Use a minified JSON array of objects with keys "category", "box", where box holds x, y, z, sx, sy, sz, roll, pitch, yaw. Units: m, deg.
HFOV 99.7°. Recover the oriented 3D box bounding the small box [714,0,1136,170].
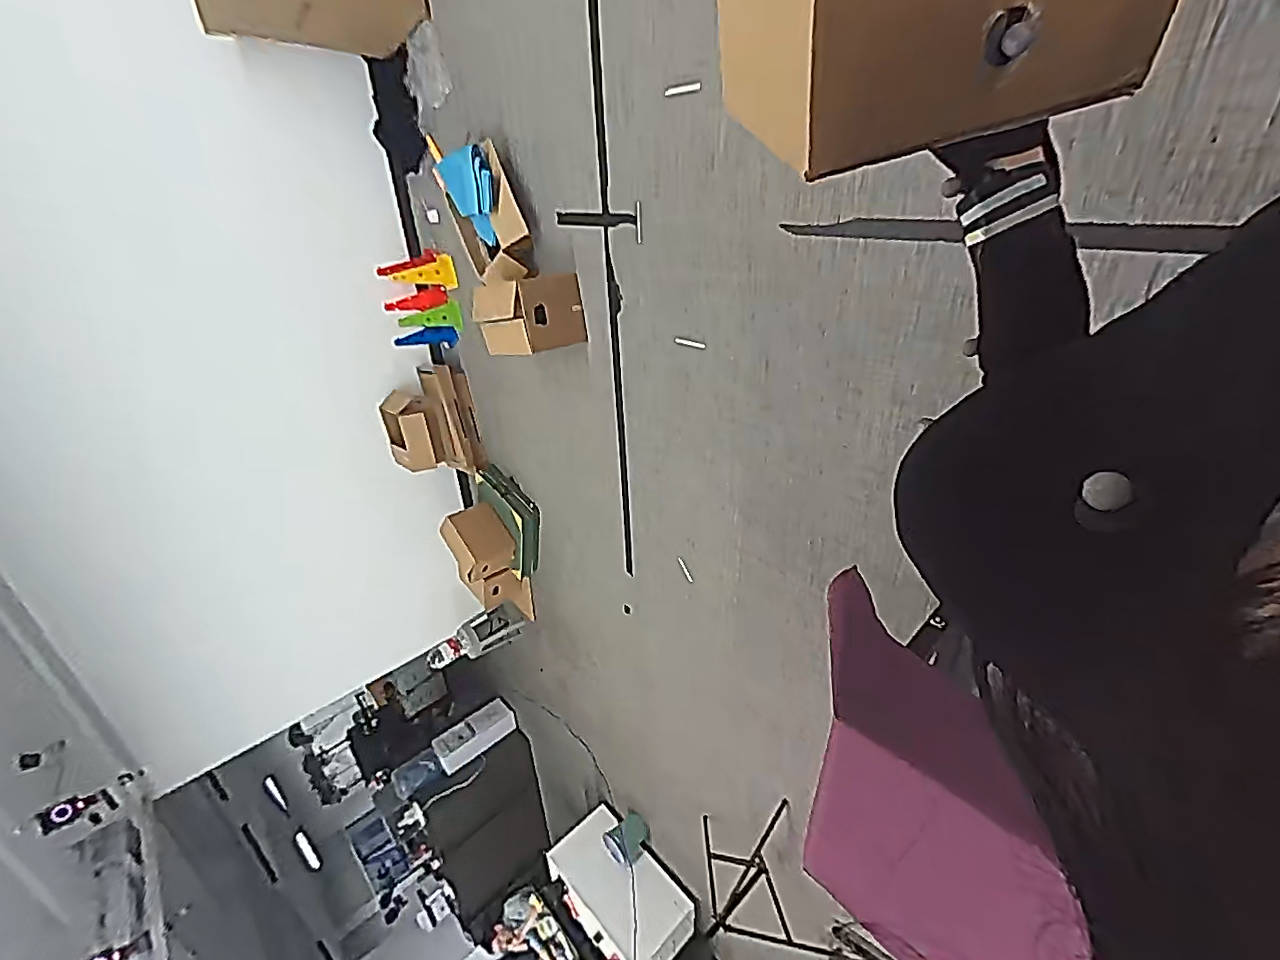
[{"category":"small box","box":[0.137,-0.292,0.273,0.176,0.179,0.168,74,-175,-45]}]
